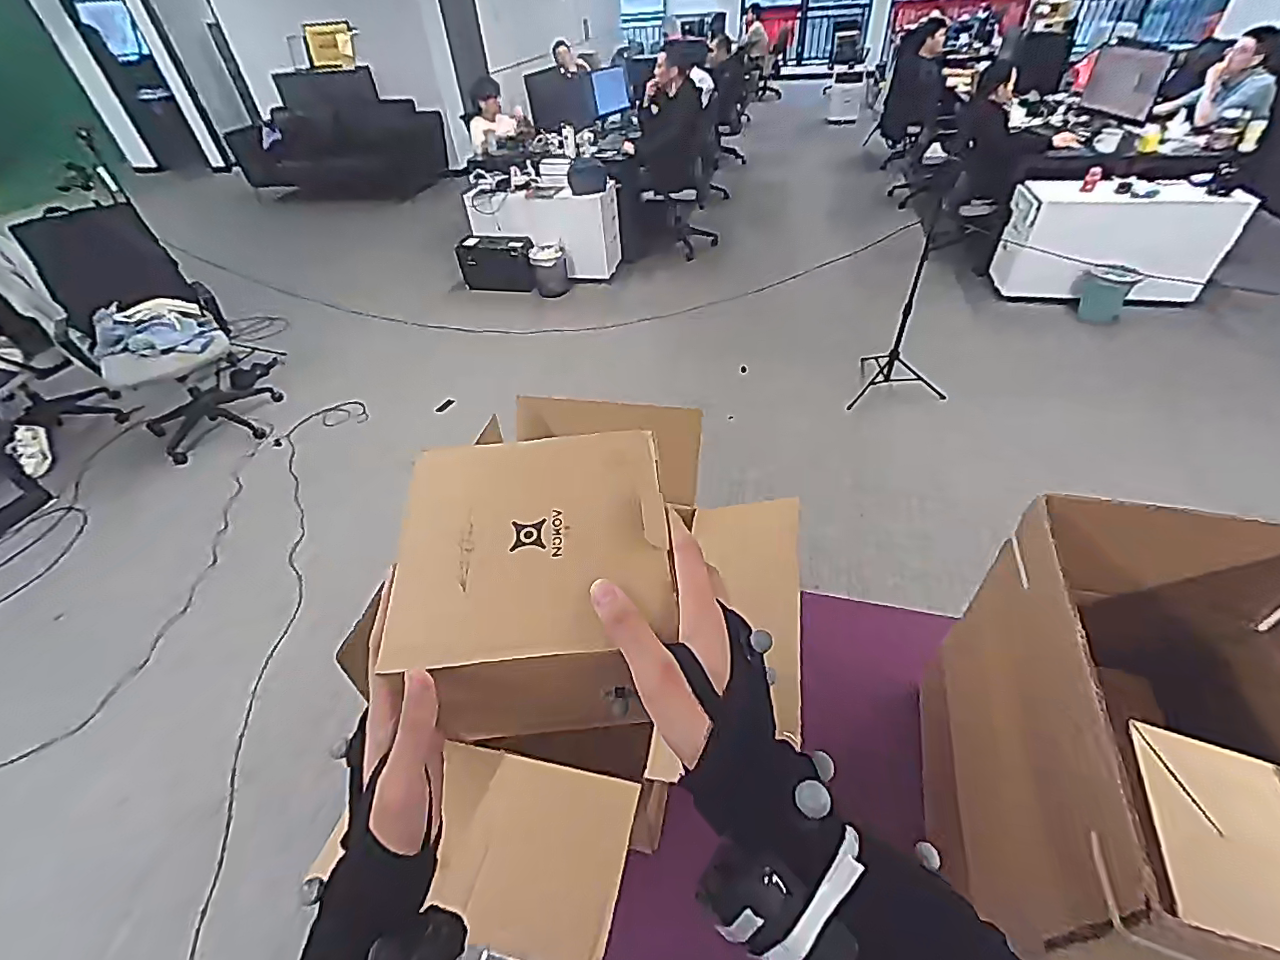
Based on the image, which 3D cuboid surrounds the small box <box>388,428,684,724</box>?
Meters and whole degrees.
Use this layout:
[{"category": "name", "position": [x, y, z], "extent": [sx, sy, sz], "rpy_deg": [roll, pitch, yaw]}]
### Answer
[{"category": "small box", "position": [-0.063, 0.081, 0.425], "extent": [0.179, 0.176, 0.168], "rpy_deg": [-5, 52, 0]}]
